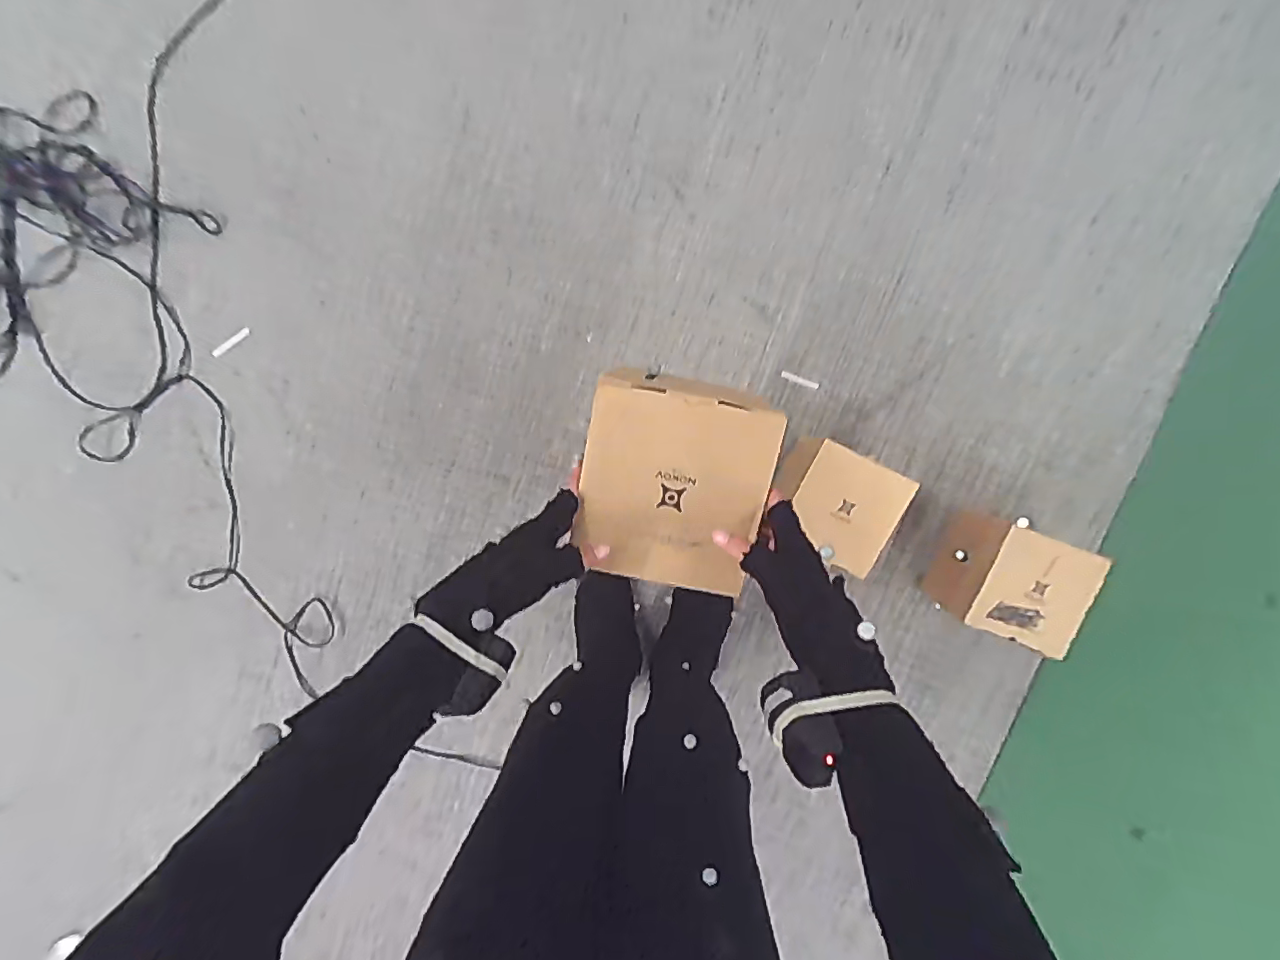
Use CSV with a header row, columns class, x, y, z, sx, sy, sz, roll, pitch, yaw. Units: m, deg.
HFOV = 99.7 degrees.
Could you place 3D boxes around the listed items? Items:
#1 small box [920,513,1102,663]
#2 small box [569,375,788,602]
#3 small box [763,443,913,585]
class,x,y,z,sx,sy,sz,roll,pitch,yaw
small box,0.615,0.174,0.927,0.168,0.176,0.179,21,97,1
small box,0.032,-0.005,0.550,0.168,0.176,0.179,11,106,-1
small box,0.322,0.046,0.931,0.168,0.176,0.179,26,98,0
